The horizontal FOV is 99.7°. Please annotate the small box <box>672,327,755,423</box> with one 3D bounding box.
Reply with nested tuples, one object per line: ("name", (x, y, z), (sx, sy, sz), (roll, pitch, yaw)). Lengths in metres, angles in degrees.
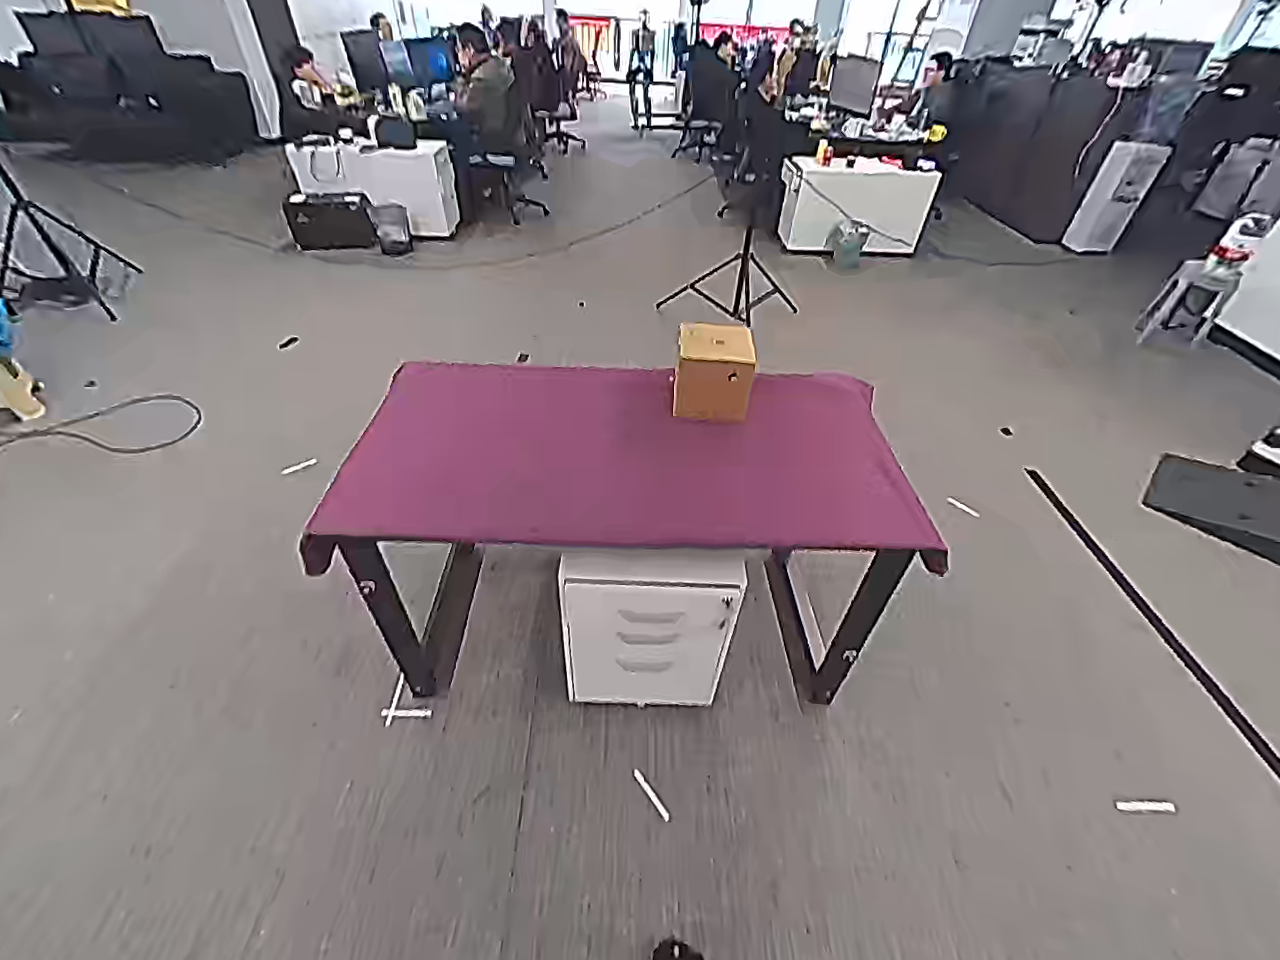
("small box", (0.175, -0.254, 1.322), (0.179, 0.176, 0.168), (3, 42, 1))
